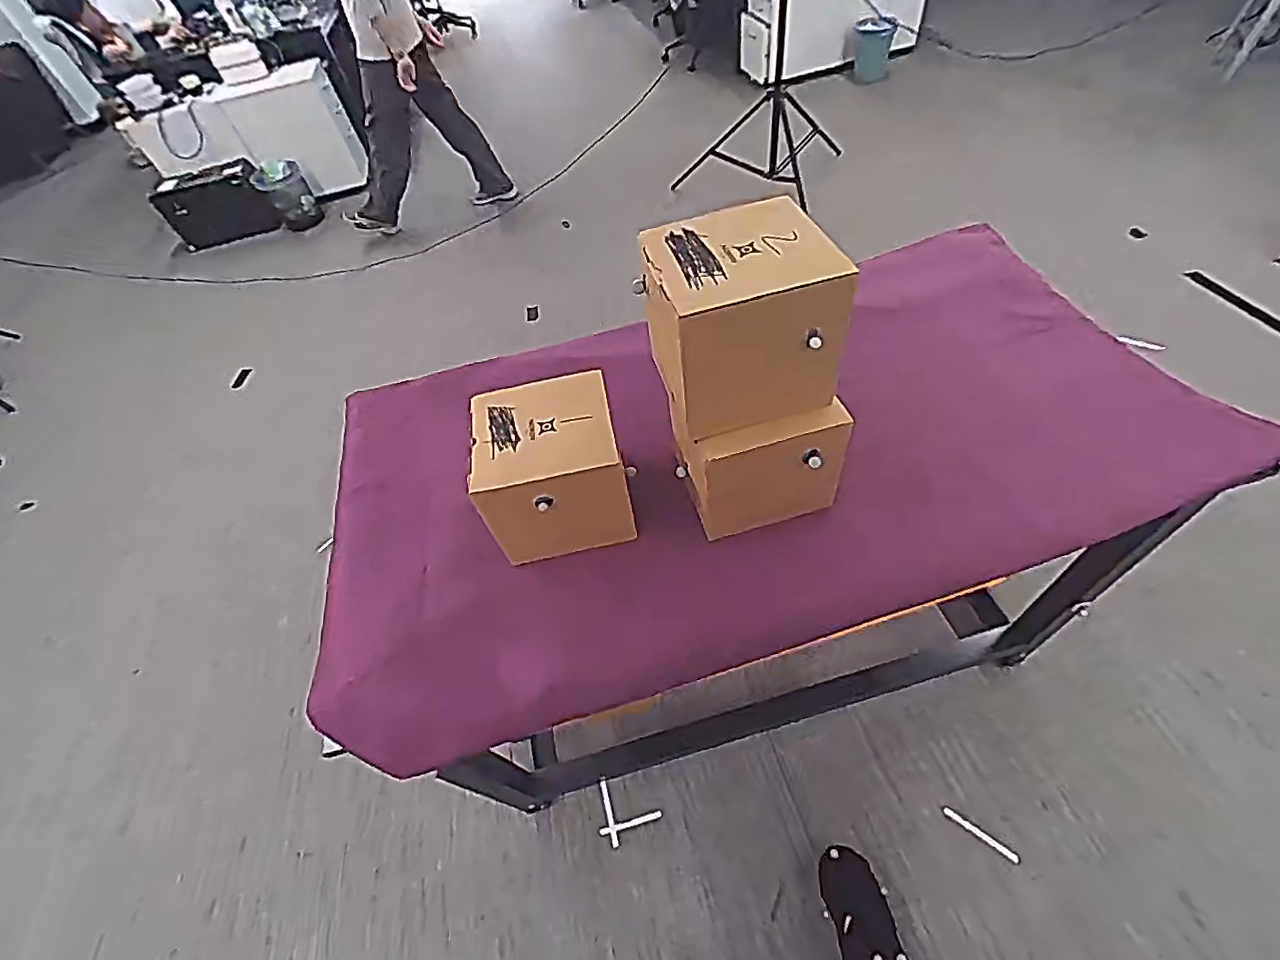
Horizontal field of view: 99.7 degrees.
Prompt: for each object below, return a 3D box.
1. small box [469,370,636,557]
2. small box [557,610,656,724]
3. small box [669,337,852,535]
[{"bbox_3d":[-0.110,-0.016,0.719,0.179,0.176,0.168,-11,52,-1],"label":"small box"},{"bbox_3d":[-0.068,0.409,1.176,0.179,0.176,0.168,-16,54,-4],"label":"small box"},{"bbox_3d":[0.146,-0.053,0.707,0.179,0.176,0.168,-15,51,-3],"label":"small box"}]
